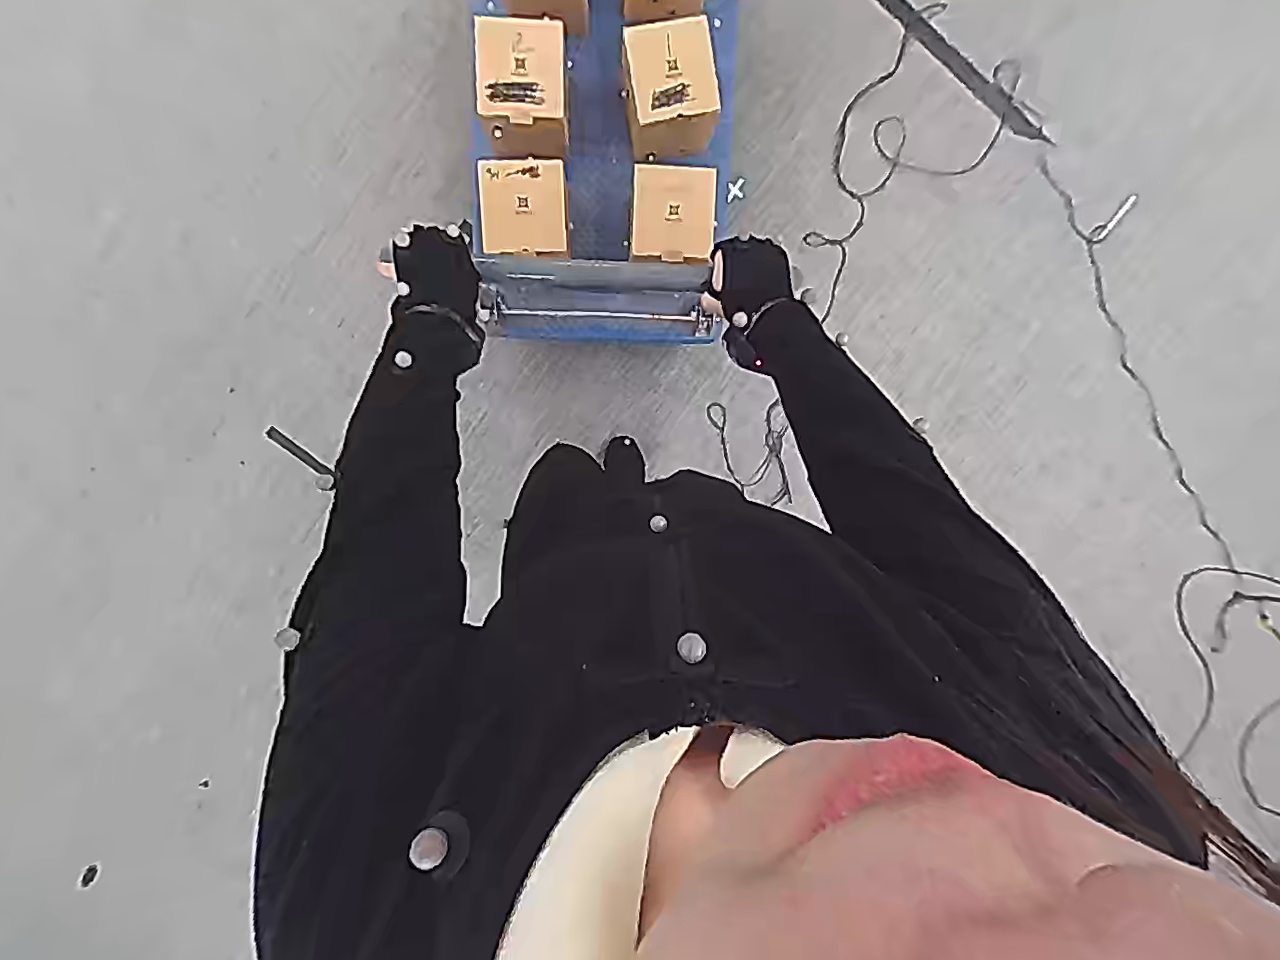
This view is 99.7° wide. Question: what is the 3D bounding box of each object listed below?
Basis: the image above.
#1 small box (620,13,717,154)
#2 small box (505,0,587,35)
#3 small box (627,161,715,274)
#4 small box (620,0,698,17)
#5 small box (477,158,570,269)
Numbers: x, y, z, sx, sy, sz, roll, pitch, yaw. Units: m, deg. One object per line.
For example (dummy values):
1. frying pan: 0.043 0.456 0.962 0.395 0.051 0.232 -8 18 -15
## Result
1. small box: 0.053 -0.806 1.122 0.168 0.176 0.179 -11 97 -2
2. small box: -0.190 -1.043 1.073 0.168 0.176 0.179 3 98 -4
3. small box: 0.061 -0.551 1.158 0.168 0.176 0.179 1 97 -5
4. small box: 0.042 -1.077 1.086 0.168 0.176 0.179 -2 97 -3
5. small box: -0.237 -0.549 1.137 0.168 0.176 0.179 -3 98 -5
